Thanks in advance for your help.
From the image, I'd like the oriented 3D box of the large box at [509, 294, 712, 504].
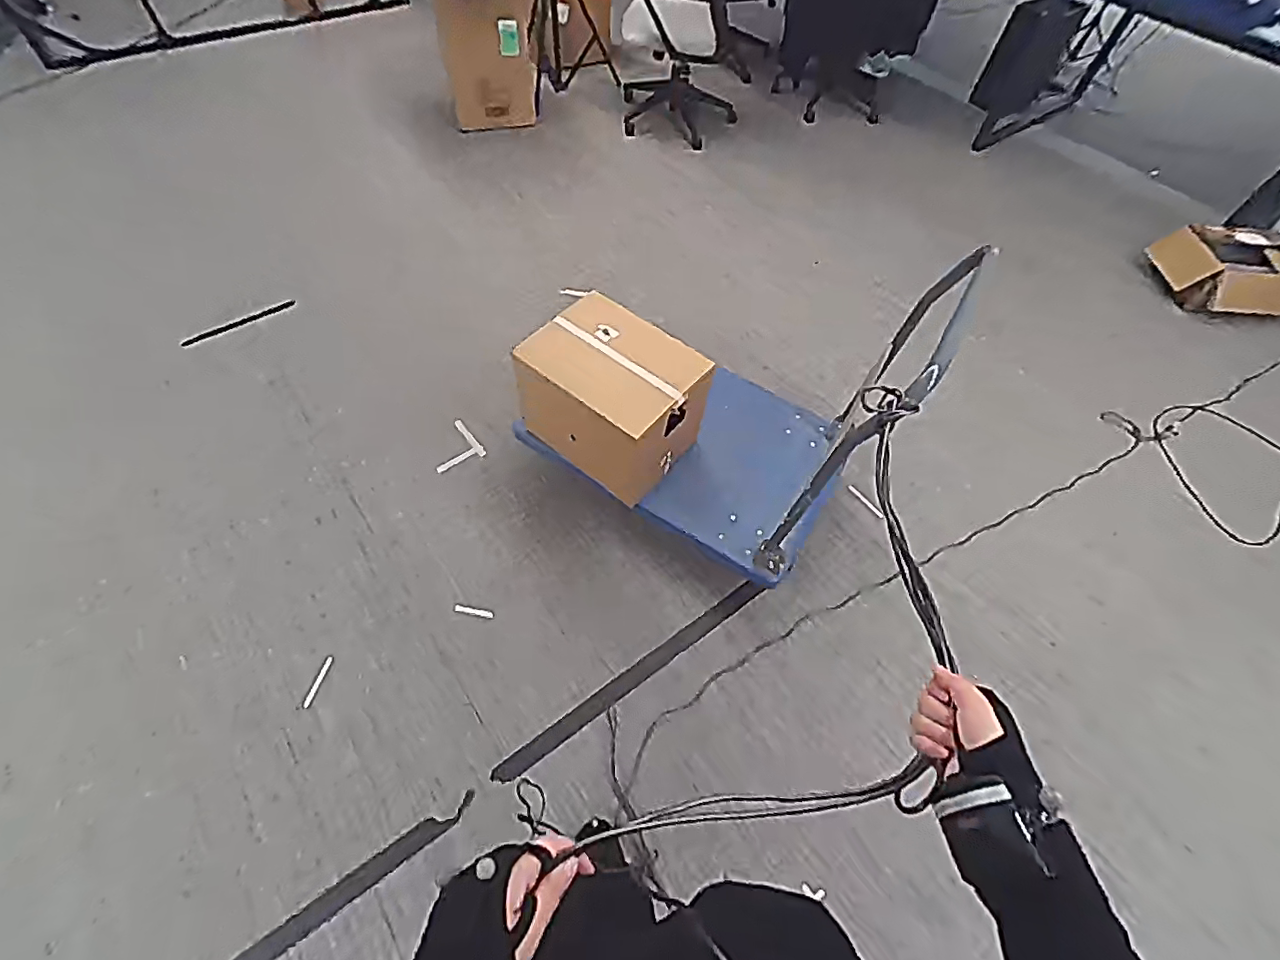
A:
[{"bbox_3d":[-0.075,-0.211,1.434,0.408,0.320,0.320,35,61,18],"label":"large box"}]
